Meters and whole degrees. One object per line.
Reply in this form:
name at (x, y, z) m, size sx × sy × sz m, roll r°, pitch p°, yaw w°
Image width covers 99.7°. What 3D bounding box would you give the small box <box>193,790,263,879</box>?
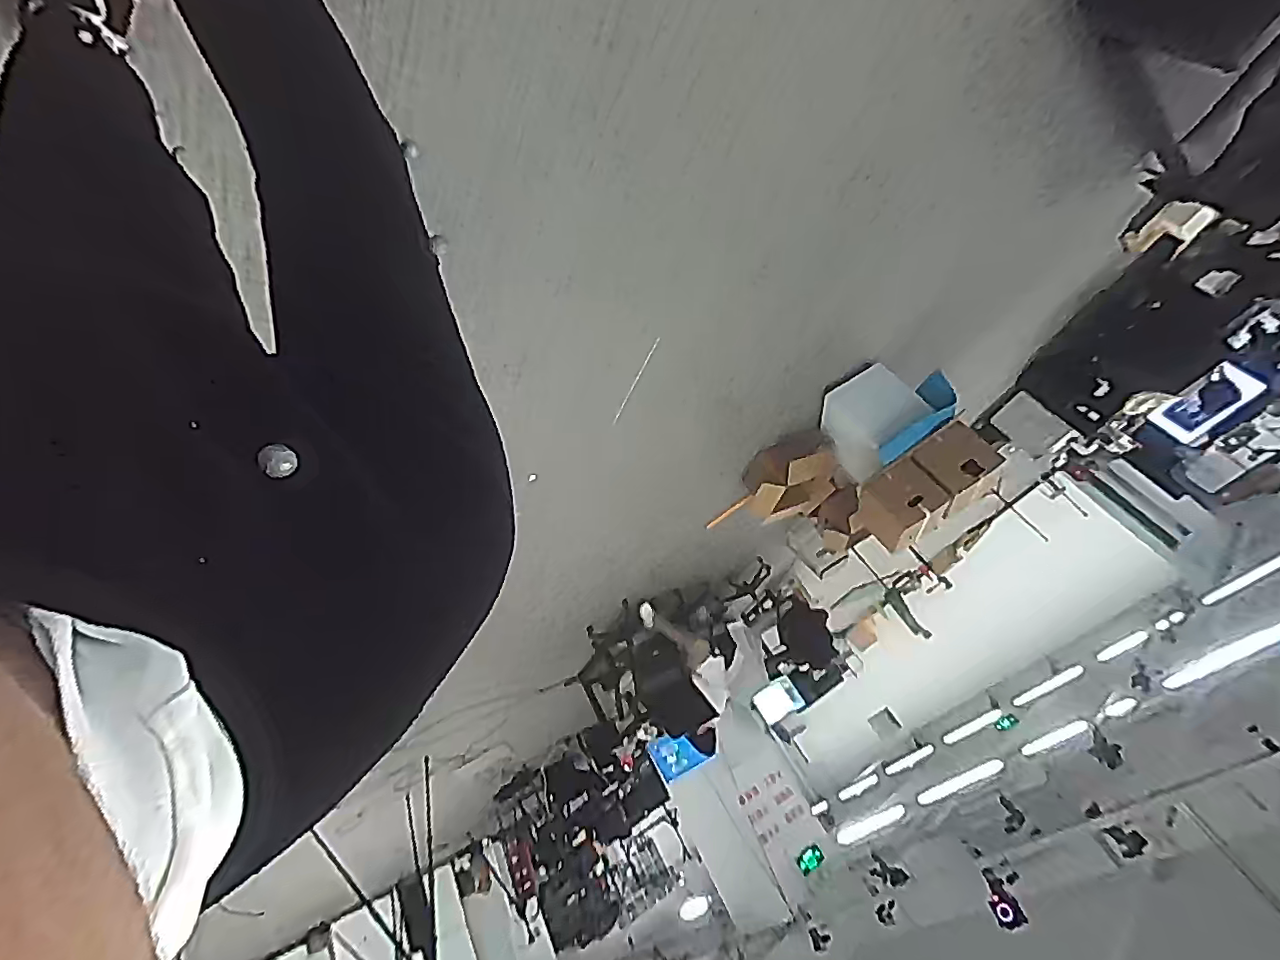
small box at (-1.326, 1.134, 1.741) m, size 0.168 × 0.176 × 0.179 m, roll -6°, pitch 141°, yaw -38°
